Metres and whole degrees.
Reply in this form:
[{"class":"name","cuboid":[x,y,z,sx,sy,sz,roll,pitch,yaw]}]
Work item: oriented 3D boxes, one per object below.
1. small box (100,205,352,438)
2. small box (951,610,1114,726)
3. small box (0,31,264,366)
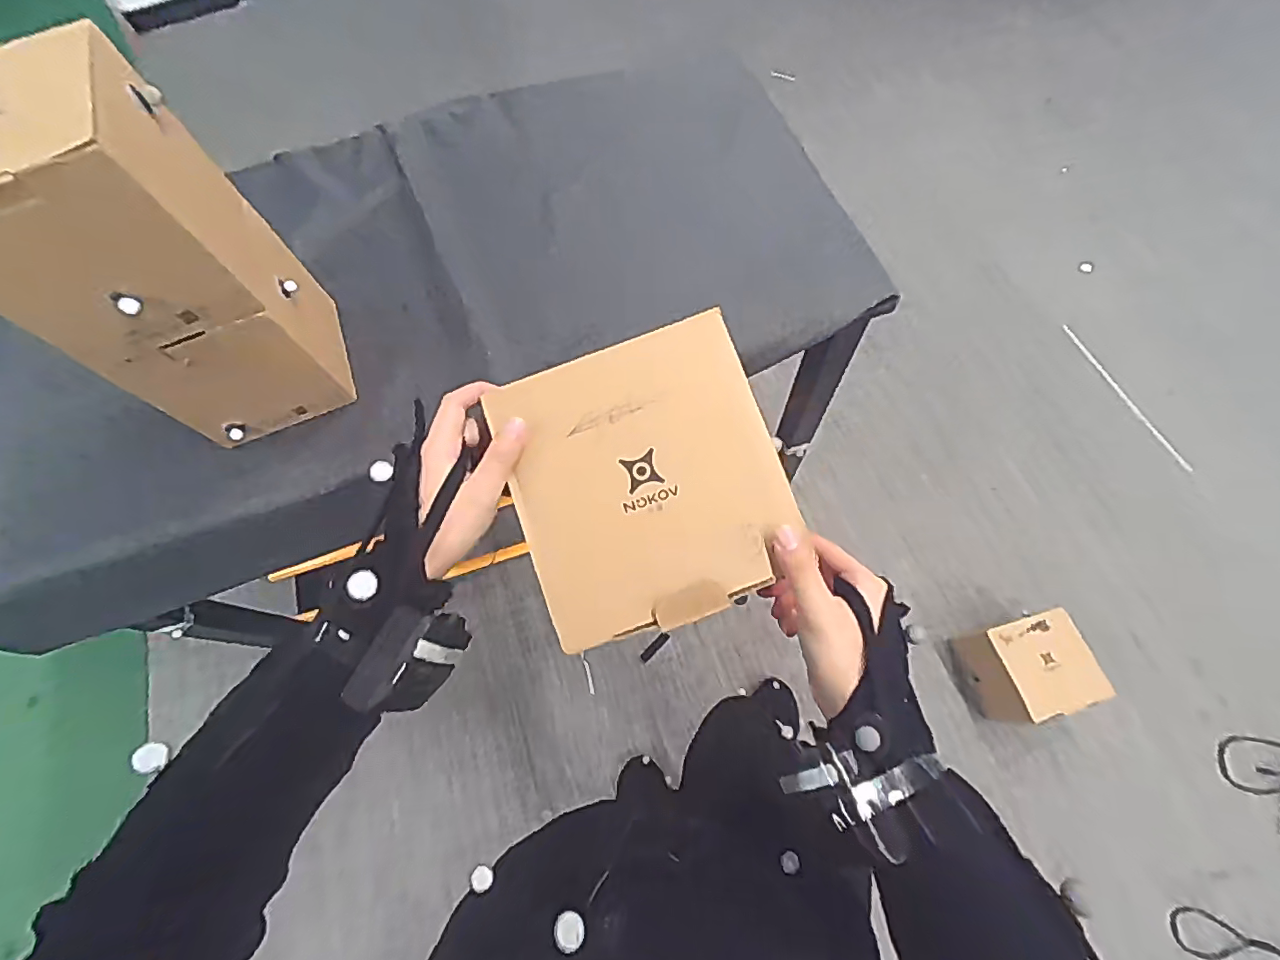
[{"class":"small box","cuboid":[-0.464,-0.169,0.628,0.168,0.176,0.179,-22,66,-6]},{"class":"small box","cuboid":[0.775,0.379,1.092,0.168,0.176,0.179,-16,68,-3]},{"class":"small box","cuboid":[-0.476,-0.236,0.477,0.168,0.176,0.179,-25,67,-6]}]
